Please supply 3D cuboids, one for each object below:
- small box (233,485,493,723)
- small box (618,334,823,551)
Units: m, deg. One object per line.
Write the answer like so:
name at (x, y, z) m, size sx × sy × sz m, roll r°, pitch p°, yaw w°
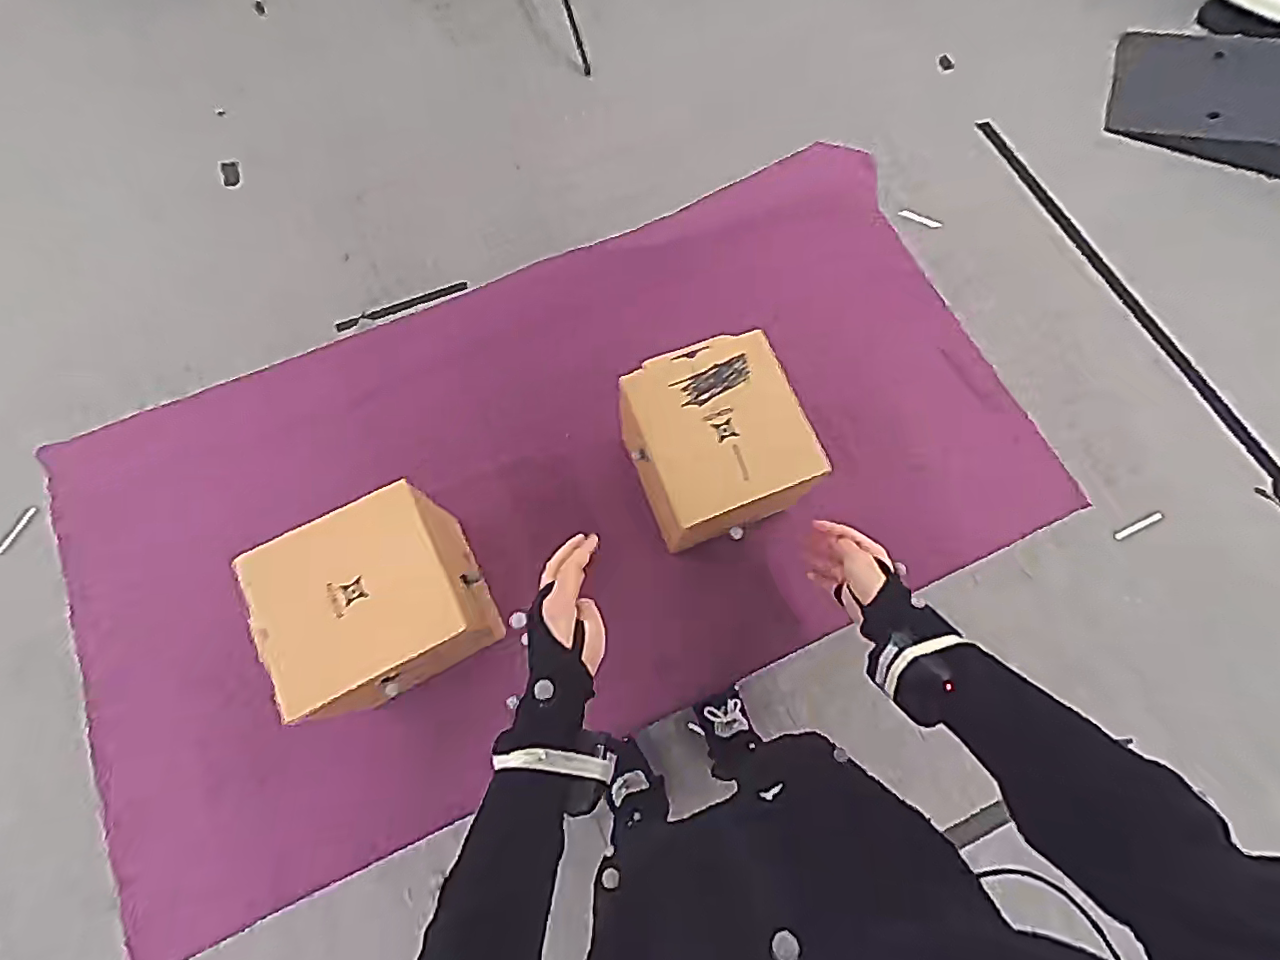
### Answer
small box at (-0.276, 0.131, 0.584) m, size 0.179 × 0.176 × 0.168 m, roll -27°, pitch 75°, yaw -8°
small box at (0.079, -0.034, 0.636) m, size 0.168 × 0.176 × 0.179 m, roll -21°, pitch 75°, yaw -6°
